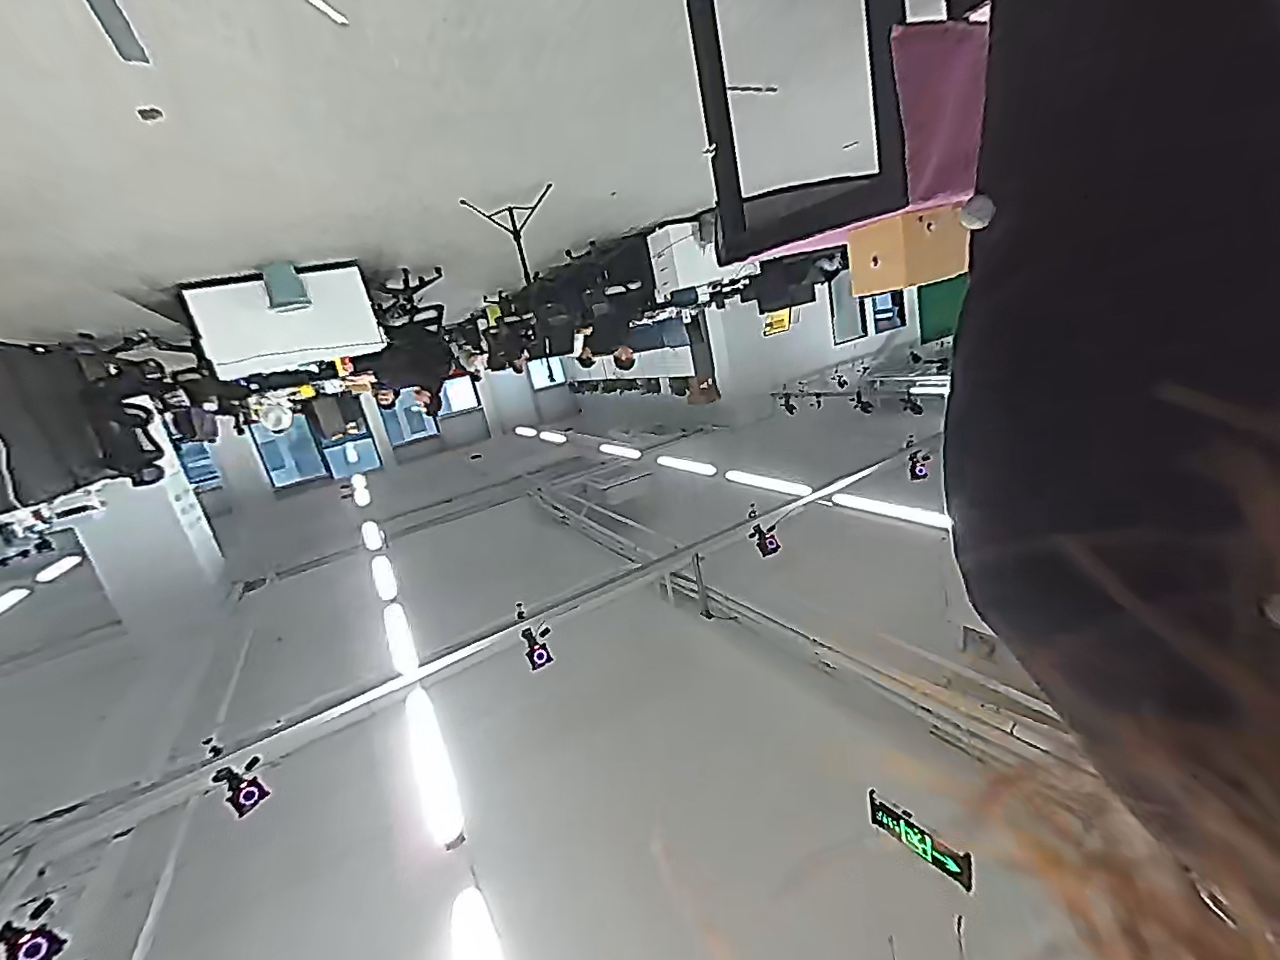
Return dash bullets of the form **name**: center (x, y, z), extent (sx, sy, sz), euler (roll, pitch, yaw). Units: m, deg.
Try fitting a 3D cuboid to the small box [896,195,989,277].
- **small box**: center (0.845, -0.683, 1.517), extent (0.168, 0.176, 0.179), euler (-20, -163, -21)
